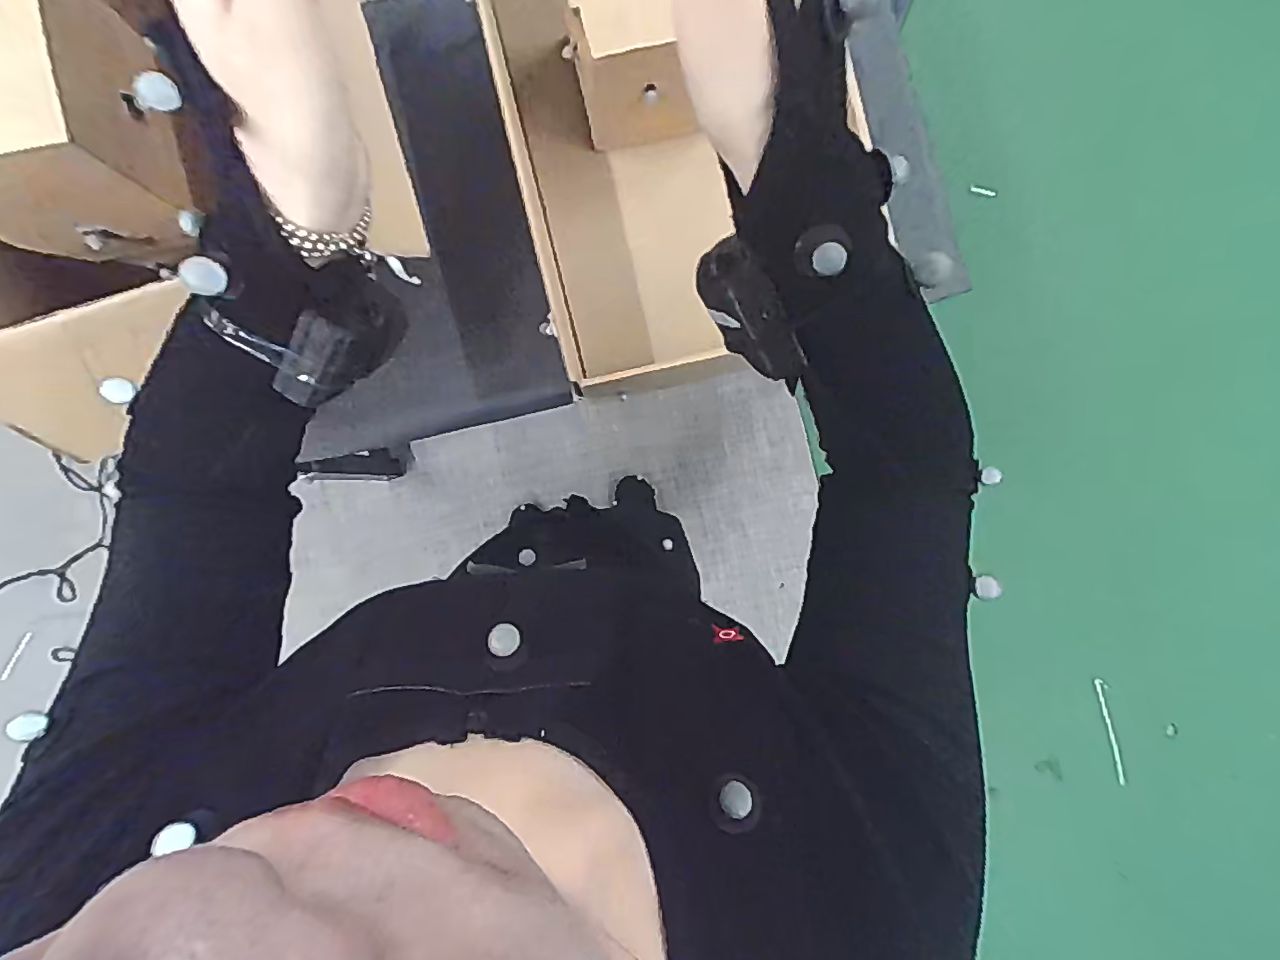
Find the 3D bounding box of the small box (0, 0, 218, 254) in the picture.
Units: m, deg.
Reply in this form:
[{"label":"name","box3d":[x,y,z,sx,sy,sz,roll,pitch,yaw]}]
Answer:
[{"label":"small box","box3d":[-0.541,-0.336,0.495,0.168,0.176,0.179,-12,92,-3]}]

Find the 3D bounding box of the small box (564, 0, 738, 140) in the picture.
[{"label":"small box","box3d":[0.004,-0.554,0.662,0.179,0.176,0.168,-14,93,-2]}]
